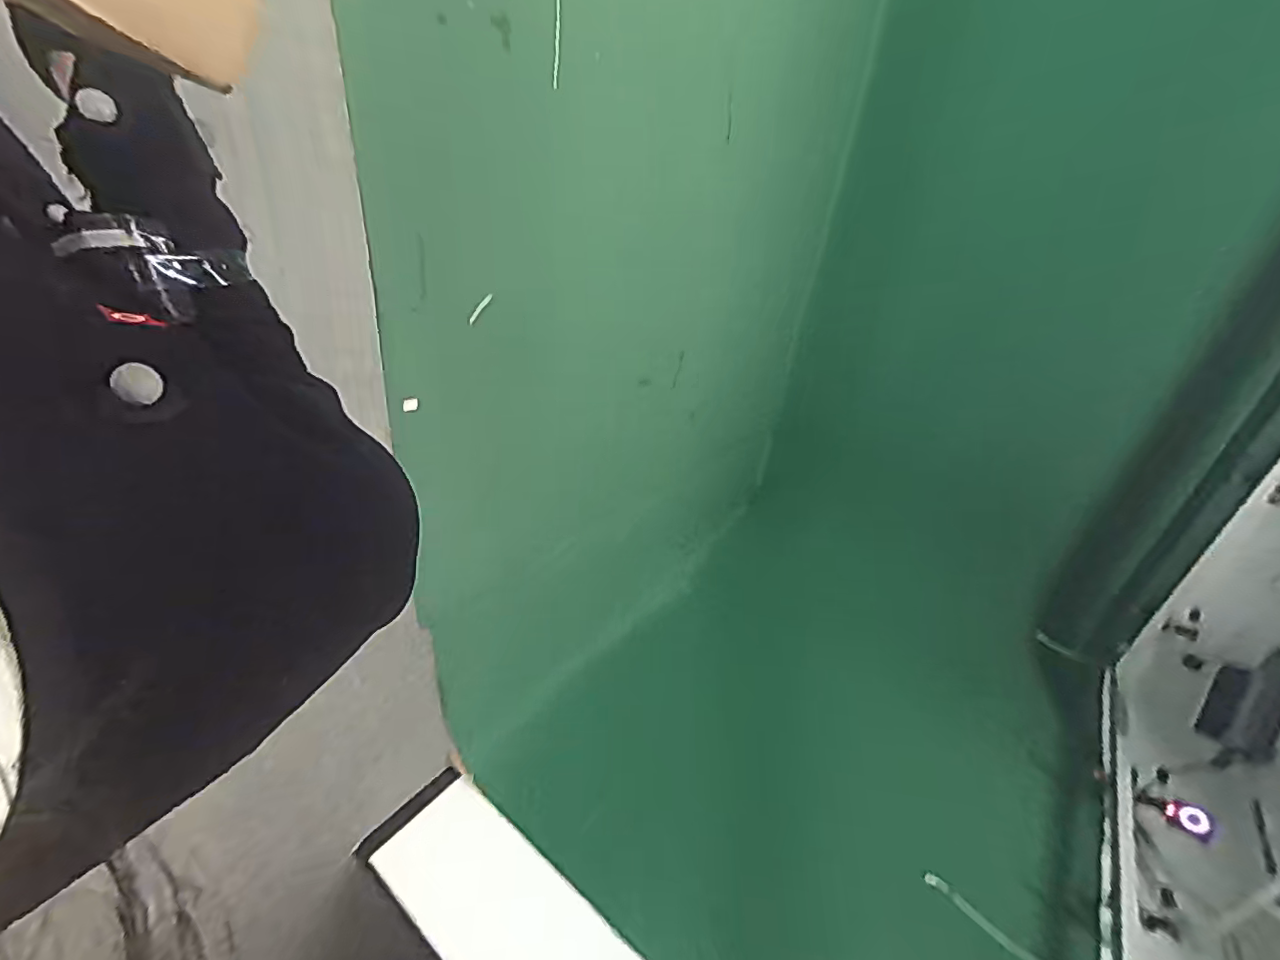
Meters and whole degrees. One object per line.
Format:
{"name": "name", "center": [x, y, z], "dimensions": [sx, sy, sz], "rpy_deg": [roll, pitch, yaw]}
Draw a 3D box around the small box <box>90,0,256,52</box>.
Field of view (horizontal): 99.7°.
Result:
{"name": "small box", "center": [-0.190, -0.241, 0.107], "dimensions": [0.179, 0.176, 0.168], "rpy_deg": [3, 116, -61]}
